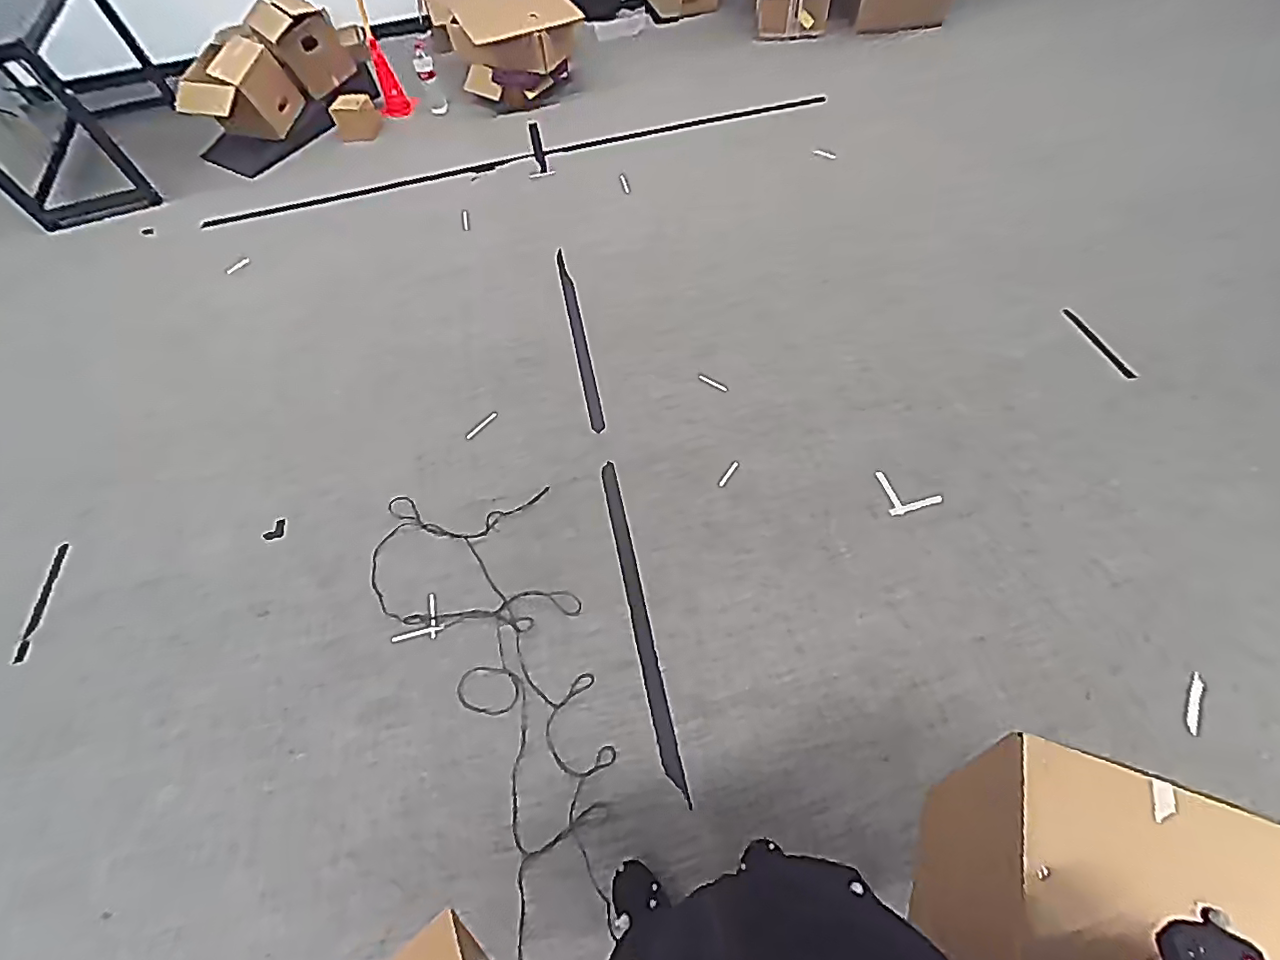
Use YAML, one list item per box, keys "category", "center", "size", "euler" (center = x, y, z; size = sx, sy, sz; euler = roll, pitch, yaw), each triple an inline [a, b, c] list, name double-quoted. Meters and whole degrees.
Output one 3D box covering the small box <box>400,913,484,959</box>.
- category: "small box"
  center: [-0.247, 0.709, 0.662]
  size: [0.168, 0.179, 0.176]
  euler: [-33, 100, -26]
